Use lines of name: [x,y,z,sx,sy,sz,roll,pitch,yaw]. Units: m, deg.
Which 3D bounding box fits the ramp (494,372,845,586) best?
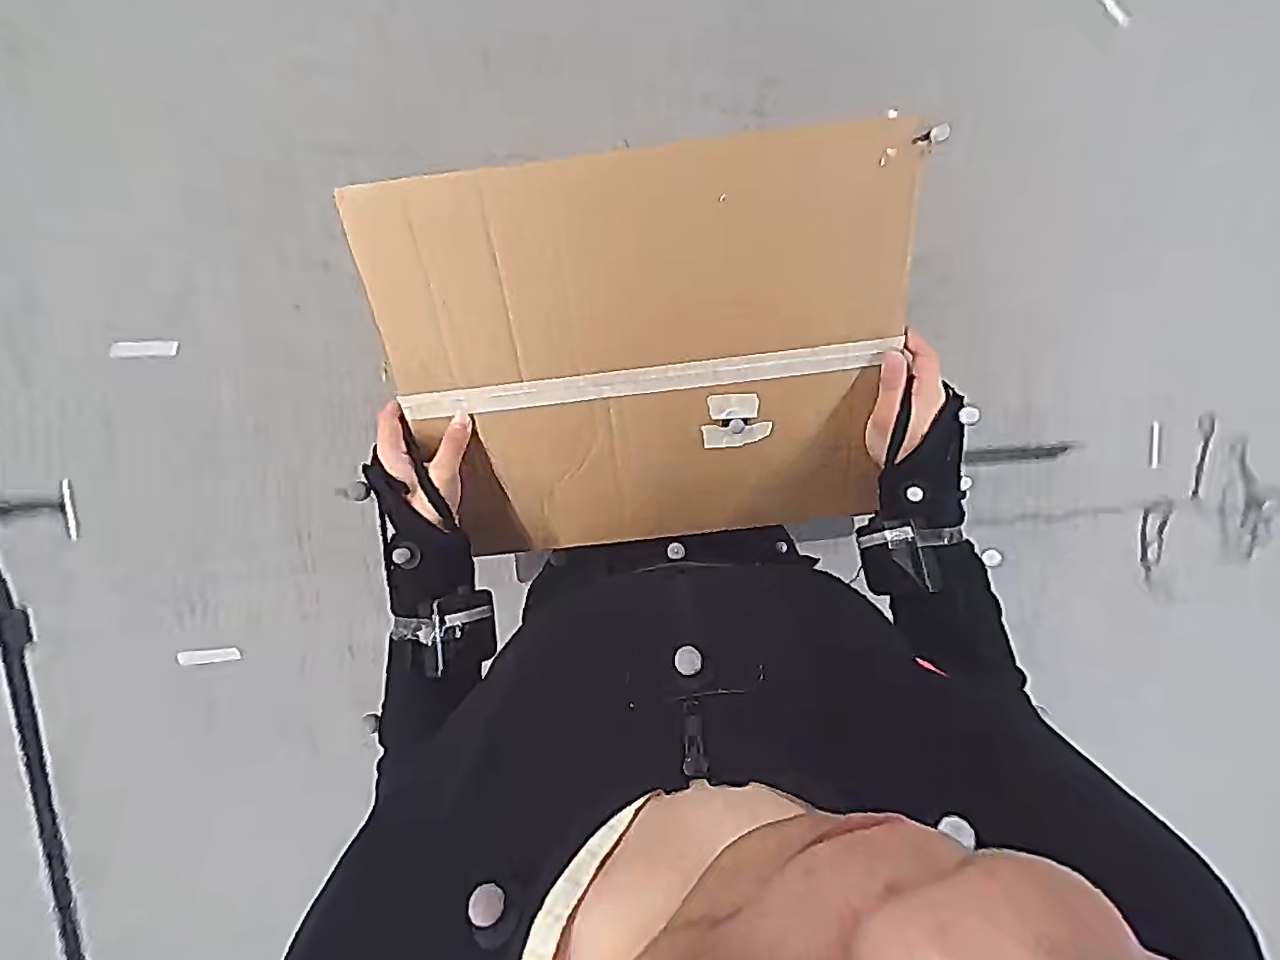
ramp: [0.135,-0.030,1.472,0.991,0.206,0.509,-7,95,-8]
